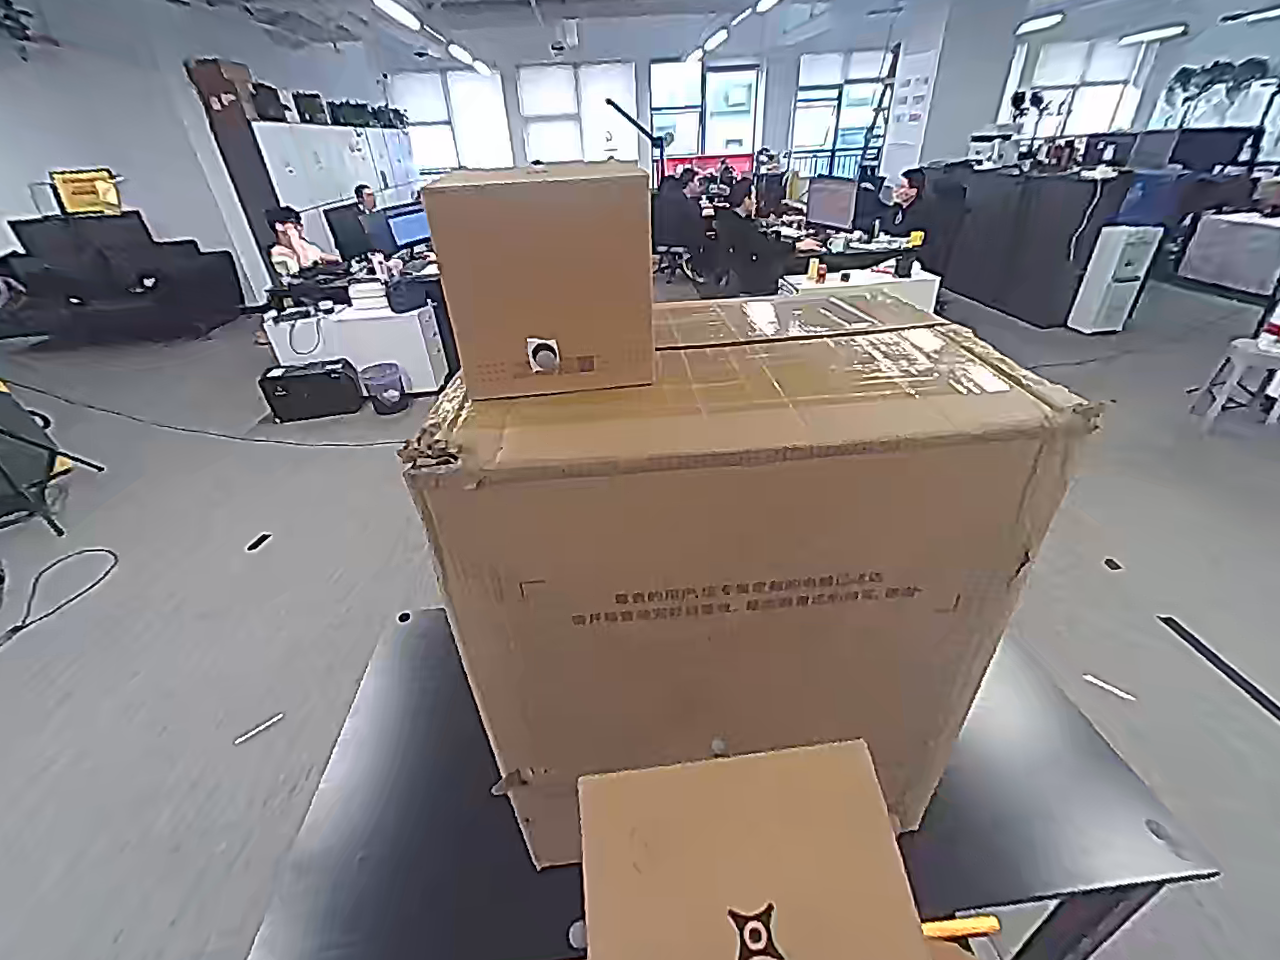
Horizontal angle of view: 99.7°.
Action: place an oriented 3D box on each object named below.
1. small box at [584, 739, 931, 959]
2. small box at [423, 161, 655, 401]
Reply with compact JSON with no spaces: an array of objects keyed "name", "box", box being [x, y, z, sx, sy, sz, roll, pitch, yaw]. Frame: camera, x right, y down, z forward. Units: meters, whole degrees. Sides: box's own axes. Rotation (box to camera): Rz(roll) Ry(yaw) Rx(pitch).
[{"name":"small box","box":[0.060,0.270,0.330,0.168,0.176,0.179,-7,60,0]},{"name":"small box","box":[-0.082,-0.188,0.498,0.168,0.176,0.179,-8,35,-7]}]
